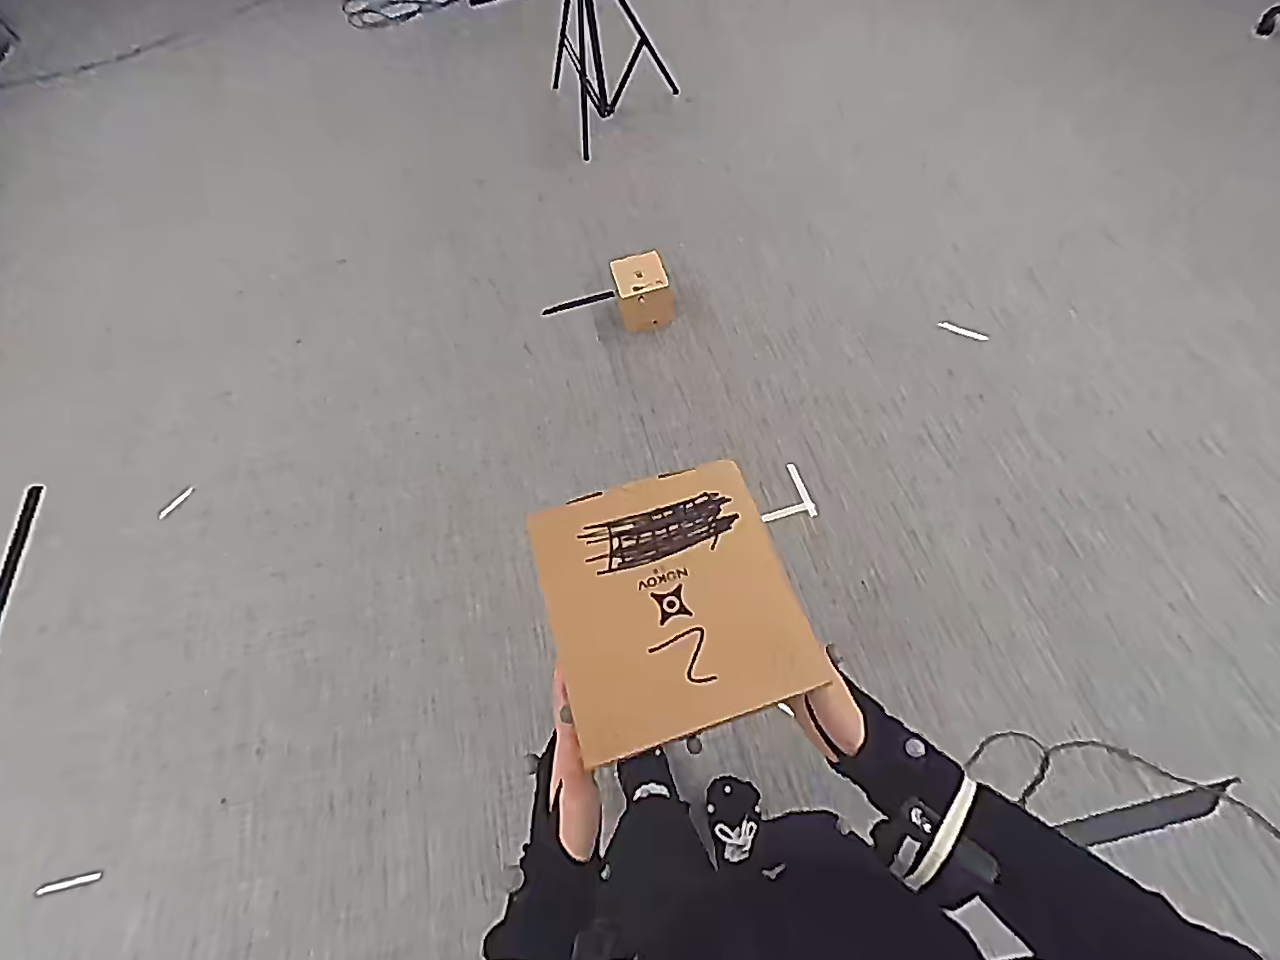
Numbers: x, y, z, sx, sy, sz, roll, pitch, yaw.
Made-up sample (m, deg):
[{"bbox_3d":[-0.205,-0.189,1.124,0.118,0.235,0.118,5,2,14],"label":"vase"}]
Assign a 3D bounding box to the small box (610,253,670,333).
[{"bbox_3d":[0.003,-0.637,1.853,0.168,0.176,0.179,-16,62,-2],"label":"small box"}]
